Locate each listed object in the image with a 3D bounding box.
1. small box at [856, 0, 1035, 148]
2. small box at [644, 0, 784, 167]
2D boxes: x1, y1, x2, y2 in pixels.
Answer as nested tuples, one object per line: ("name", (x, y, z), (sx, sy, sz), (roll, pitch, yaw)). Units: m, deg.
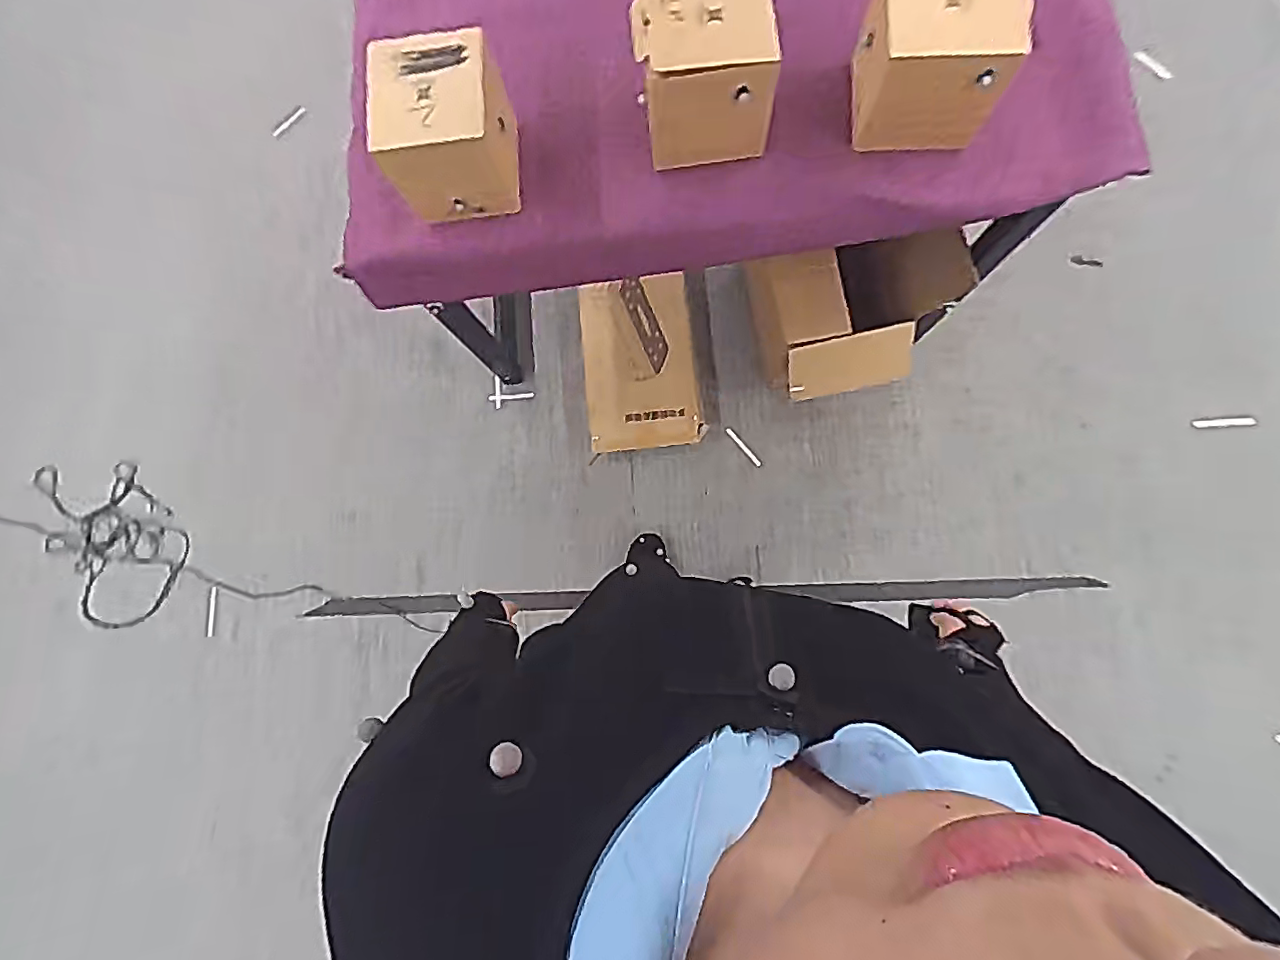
("small box", (0.419, -0.607, 0.774), (0.179, 0.176, 0.168), (2, 82, 5))
("small box", (0.101, -0.600, 0.798), (0.179, 0.176, 0.168), (-6, 79, 4))
